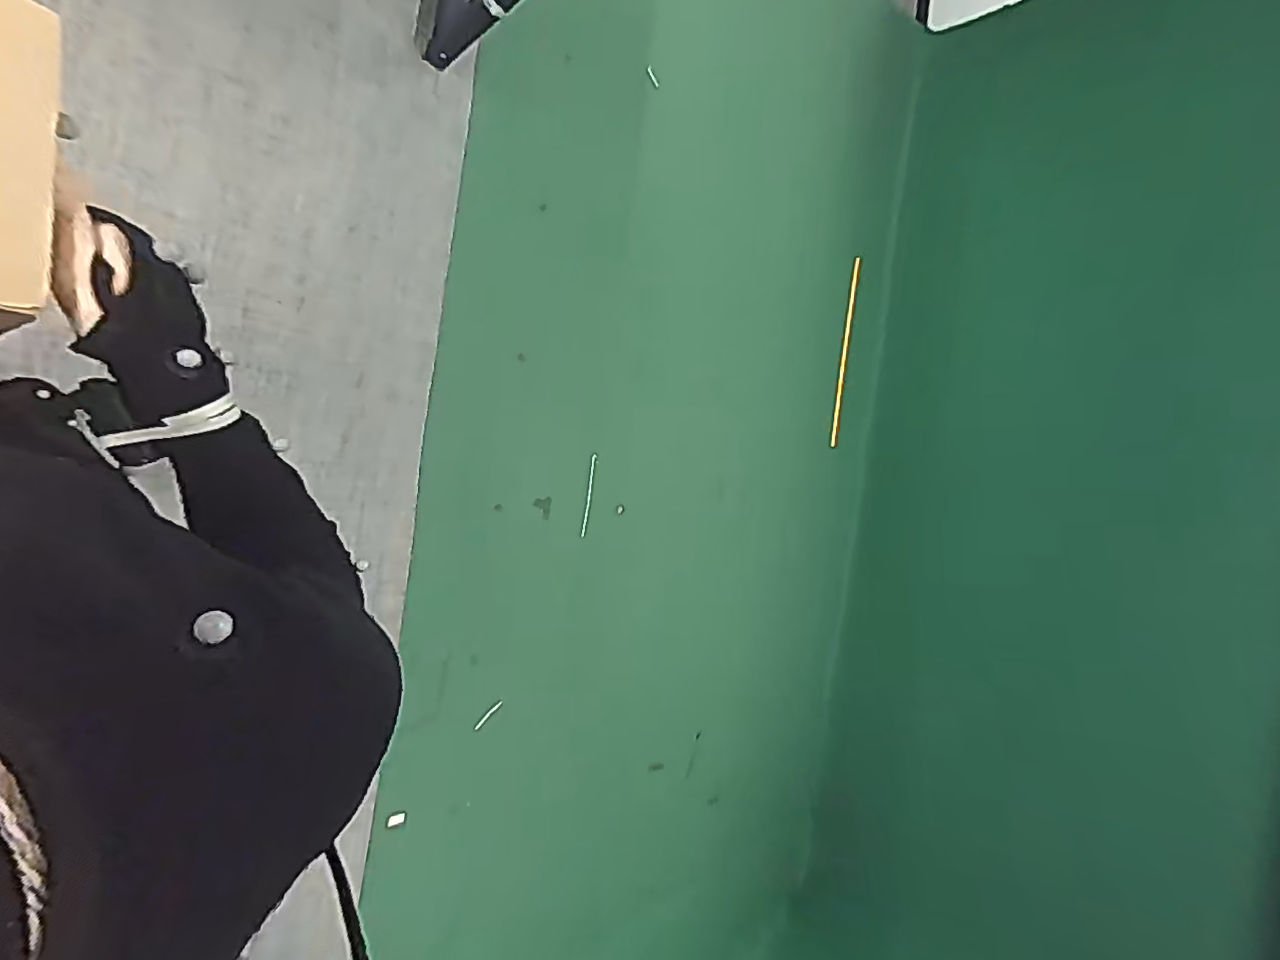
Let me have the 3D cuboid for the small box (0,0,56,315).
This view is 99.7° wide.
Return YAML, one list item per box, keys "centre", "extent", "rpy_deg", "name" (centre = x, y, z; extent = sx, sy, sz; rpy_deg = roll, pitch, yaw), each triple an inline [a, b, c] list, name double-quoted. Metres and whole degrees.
- centre: [-0.442, -0.189, 0.270]
  extent: [0.168, 0.176, 0.179]
  rpy_deg: [4, 88, -60]
  name: "small box"
